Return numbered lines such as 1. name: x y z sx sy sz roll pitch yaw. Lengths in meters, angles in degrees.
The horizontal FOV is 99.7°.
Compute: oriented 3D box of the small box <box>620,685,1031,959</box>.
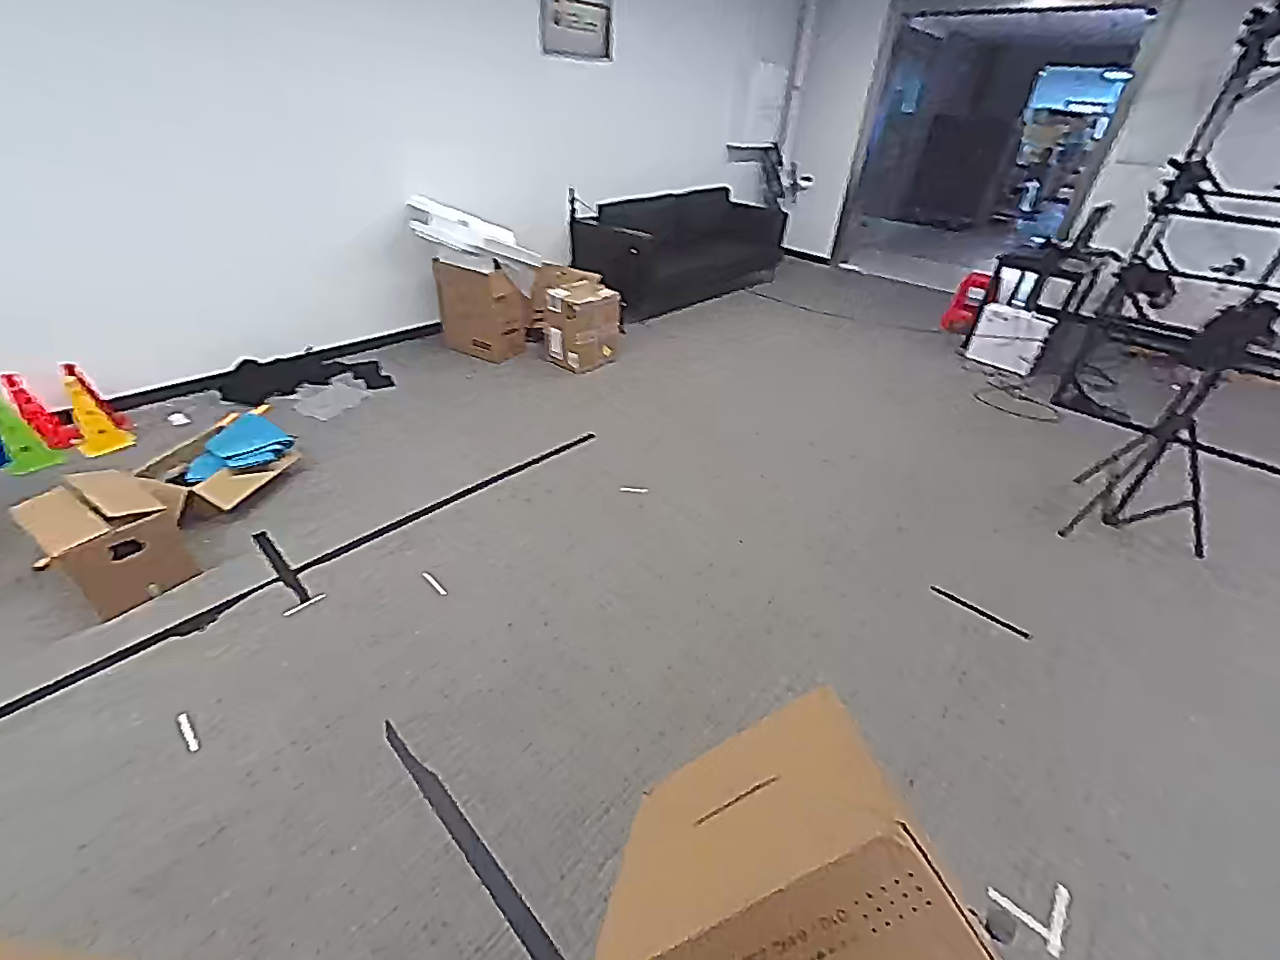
1. small box: 0.107 0.249 0.303 0.168 0.176 0.179 -32 -7 8
